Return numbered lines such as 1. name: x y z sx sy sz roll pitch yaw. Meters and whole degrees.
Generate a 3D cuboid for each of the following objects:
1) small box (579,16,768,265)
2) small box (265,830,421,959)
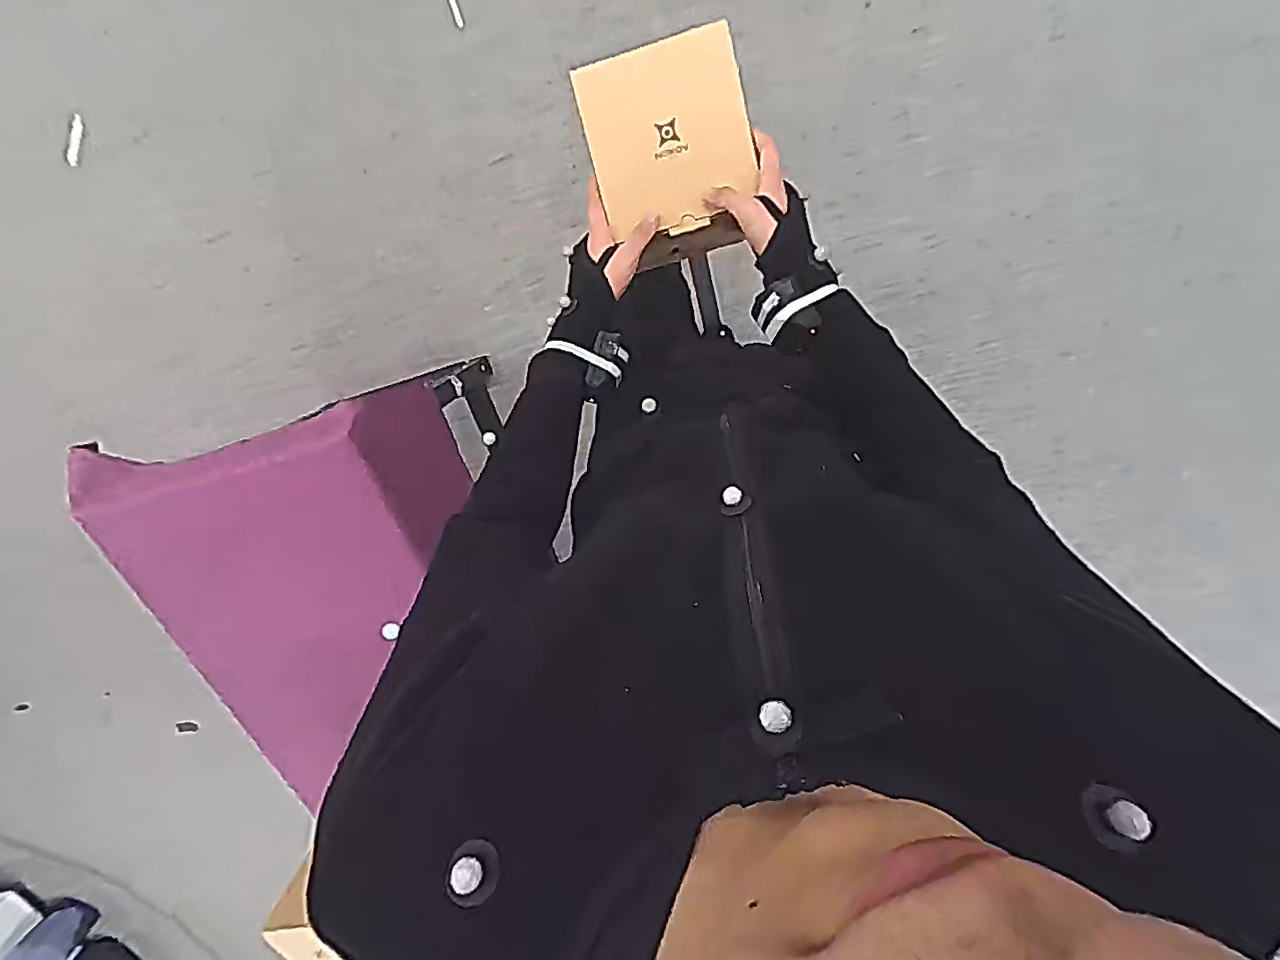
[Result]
1. small box: 0.037 -0.372 0.629 0.168 0.176 0.179 -13 101 5
2. small box: -0.547 0.803 1.032 0.179 0.176 0.168 -18 111 13
